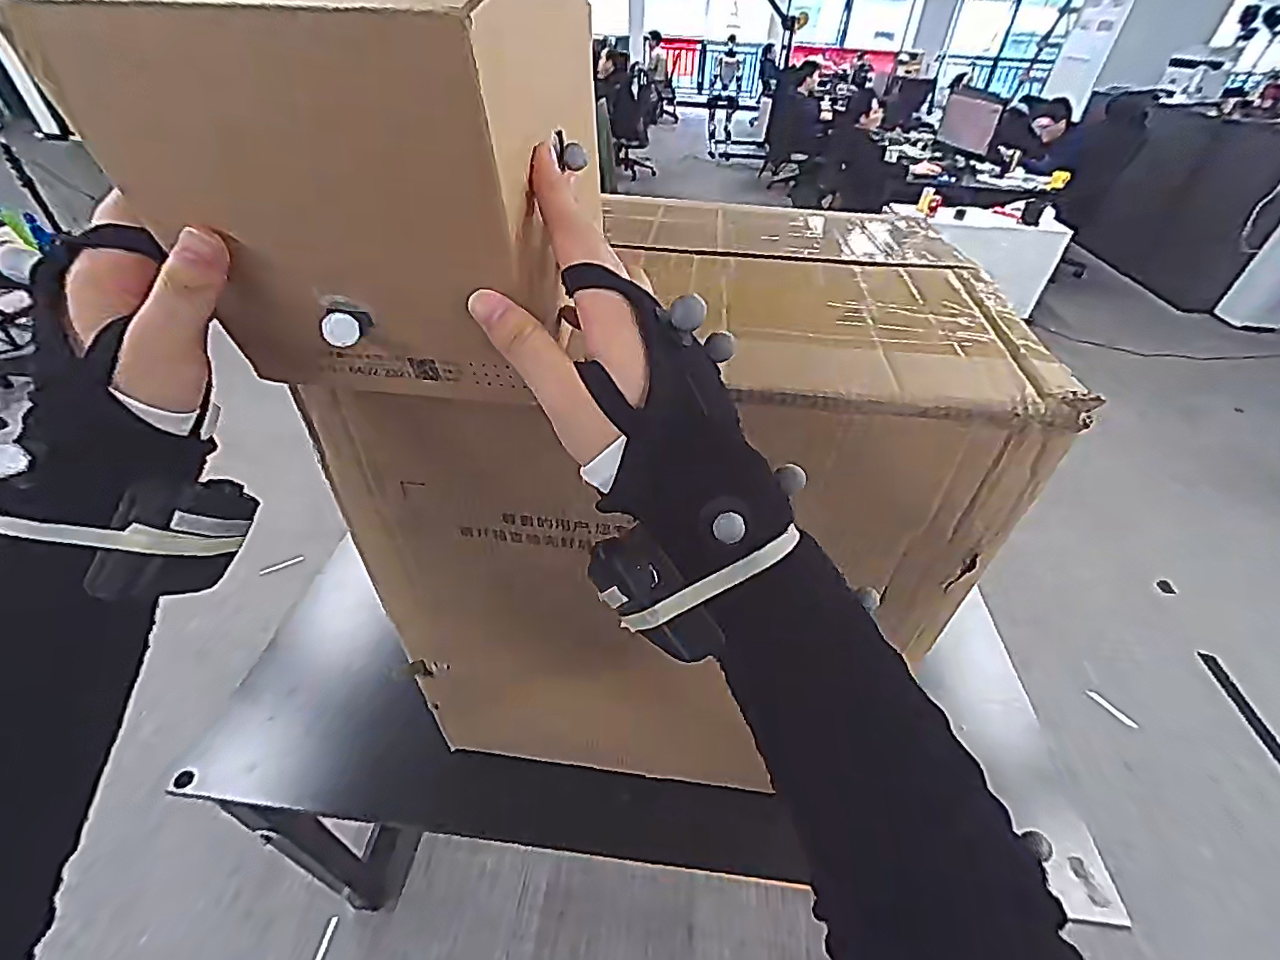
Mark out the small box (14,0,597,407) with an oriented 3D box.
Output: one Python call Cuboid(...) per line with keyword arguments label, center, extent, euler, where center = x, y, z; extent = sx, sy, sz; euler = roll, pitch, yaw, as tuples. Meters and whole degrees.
Cuboid(label="small box", center=(-0.118, -0.164, 0.287), extent=(0.168, 0.176, 0.179), euler=(6, 53, 5))
